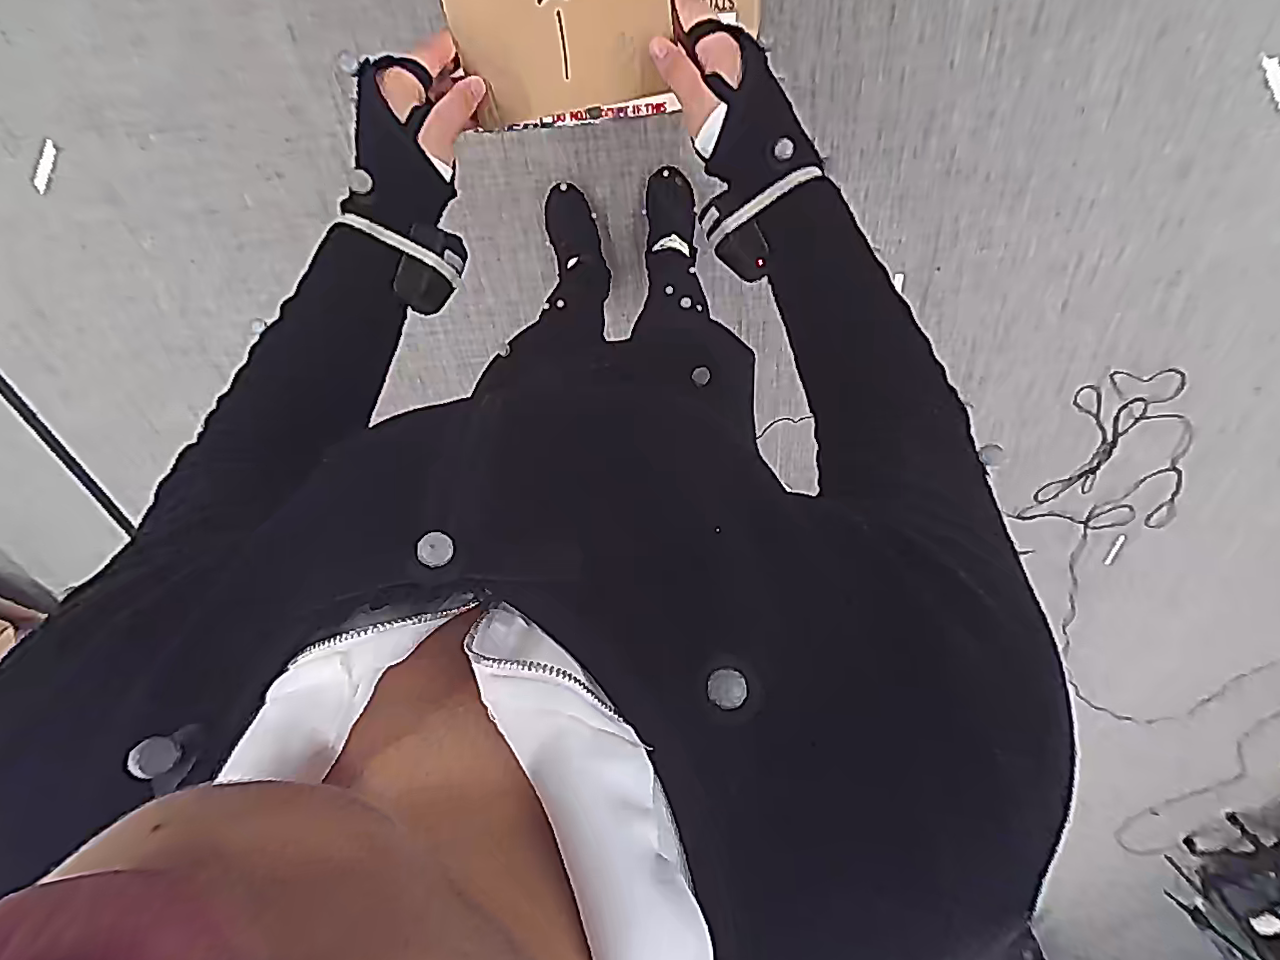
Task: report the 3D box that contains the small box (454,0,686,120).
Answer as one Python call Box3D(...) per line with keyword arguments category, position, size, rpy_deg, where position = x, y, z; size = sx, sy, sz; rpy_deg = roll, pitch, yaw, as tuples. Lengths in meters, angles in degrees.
Box3D(category="small box", position=(-0.053, -0.420, 0.441), size=(0.168, 0.176, 0.179), rpy_deg=(-5, 130, 10))
